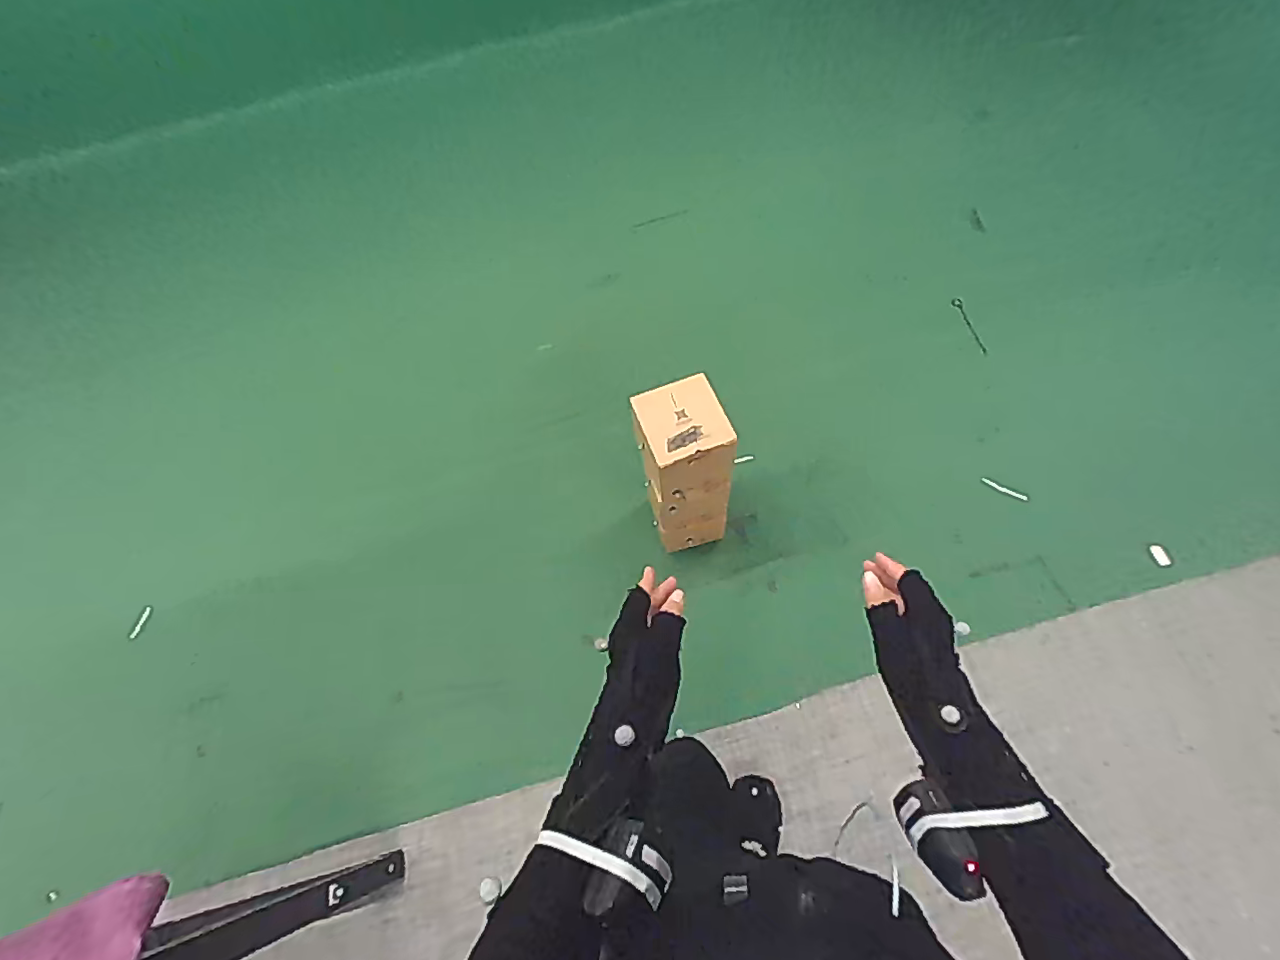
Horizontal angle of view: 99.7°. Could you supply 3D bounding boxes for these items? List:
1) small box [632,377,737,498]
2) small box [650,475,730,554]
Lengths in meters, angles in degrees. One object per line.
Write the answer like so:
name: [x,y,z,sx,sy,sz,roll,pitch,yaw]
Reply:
small box: [0.095,-0.080,1.148,0.168,0.176,0.179,-20,63,-5]
small box: [0.129,0.075,1.437,0.168,0.176,0.179,-15,64,-2]
